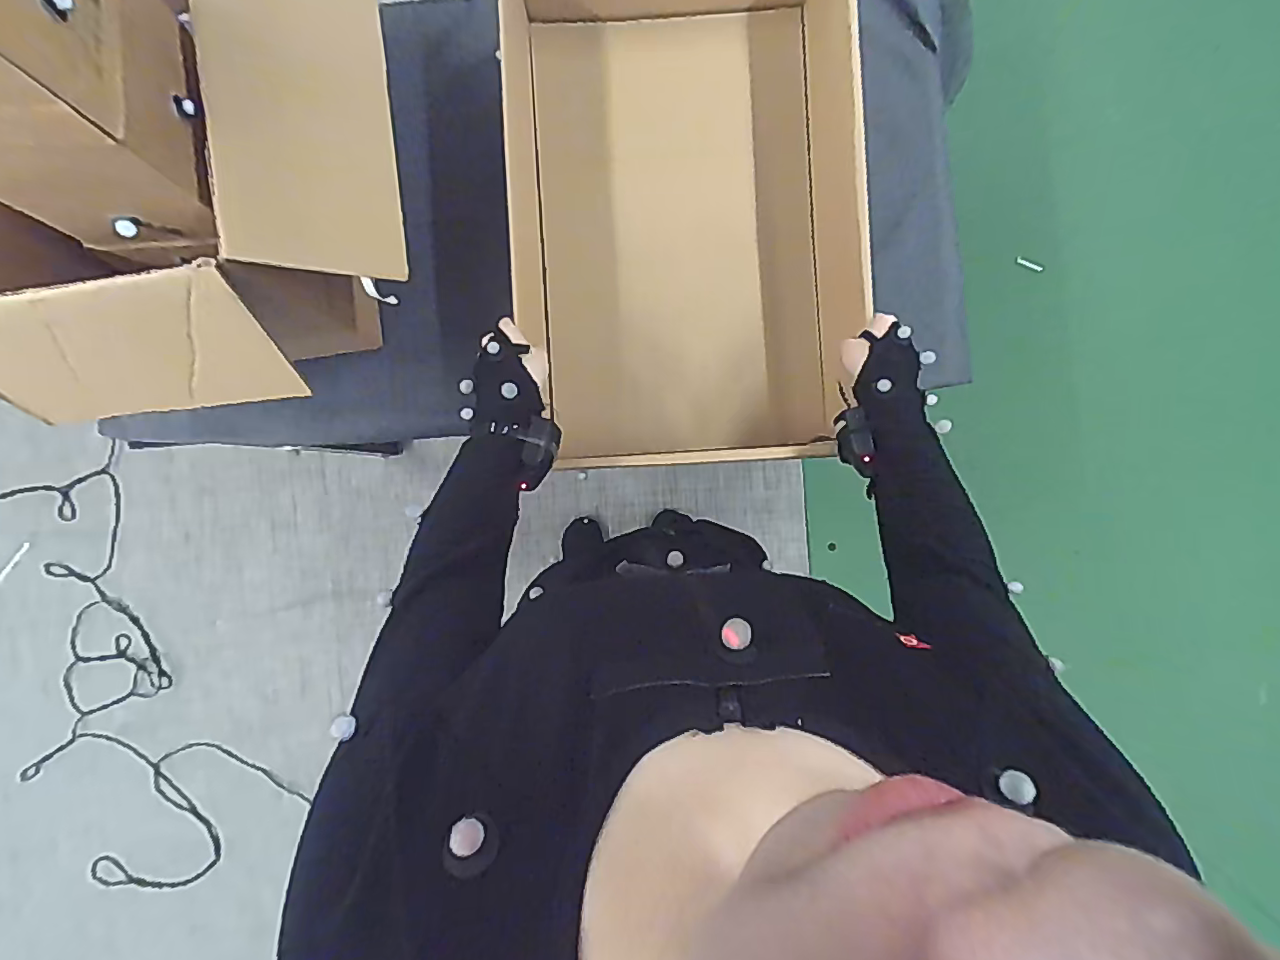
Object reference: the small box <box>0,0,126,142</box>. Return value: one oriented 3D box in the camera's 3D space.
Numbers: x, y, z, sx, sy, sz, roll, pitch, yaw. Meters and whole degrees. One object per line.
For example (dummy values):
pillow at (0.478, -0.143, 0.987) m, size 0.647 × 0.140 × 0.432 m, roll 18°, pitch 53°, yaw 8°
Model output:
small box at (-0.499, -0.350, 0.351) m, size 0.179 × 0.176 × 0.168 m, roll -4°, pitch 89°, yaw -6°
